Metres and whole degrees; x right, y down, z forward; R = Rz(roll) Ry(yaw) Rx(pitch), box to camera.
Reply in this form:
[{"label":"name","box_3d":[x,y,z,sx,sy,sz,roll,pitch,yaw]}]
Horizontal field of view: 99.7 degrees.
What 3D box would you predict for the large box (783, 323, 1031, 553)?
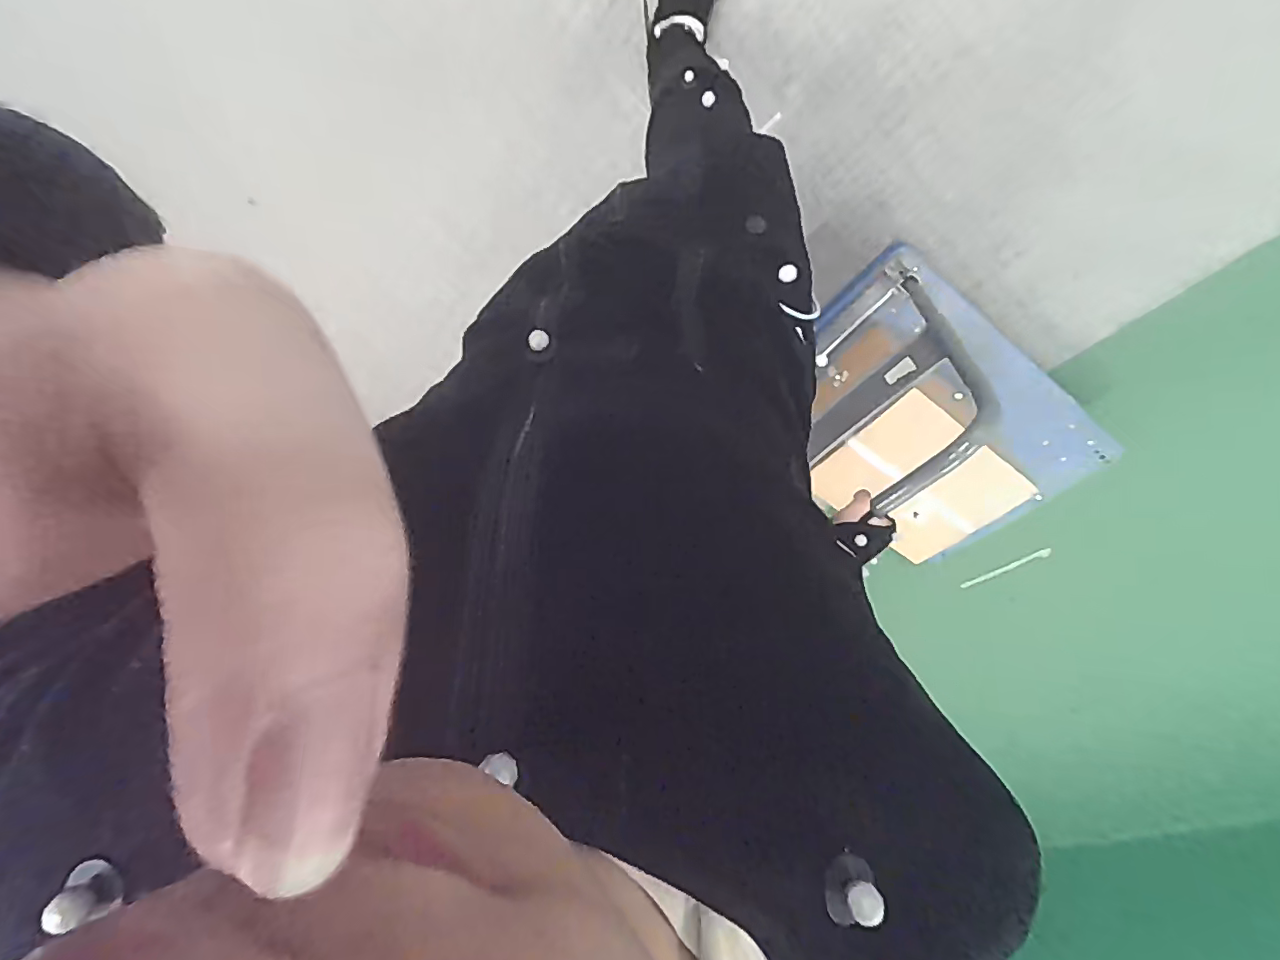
[{"label":"large box","box_3d":[0.609,-0.100,1.302,0.408,0.320,0.320,32,128,-17]}]
